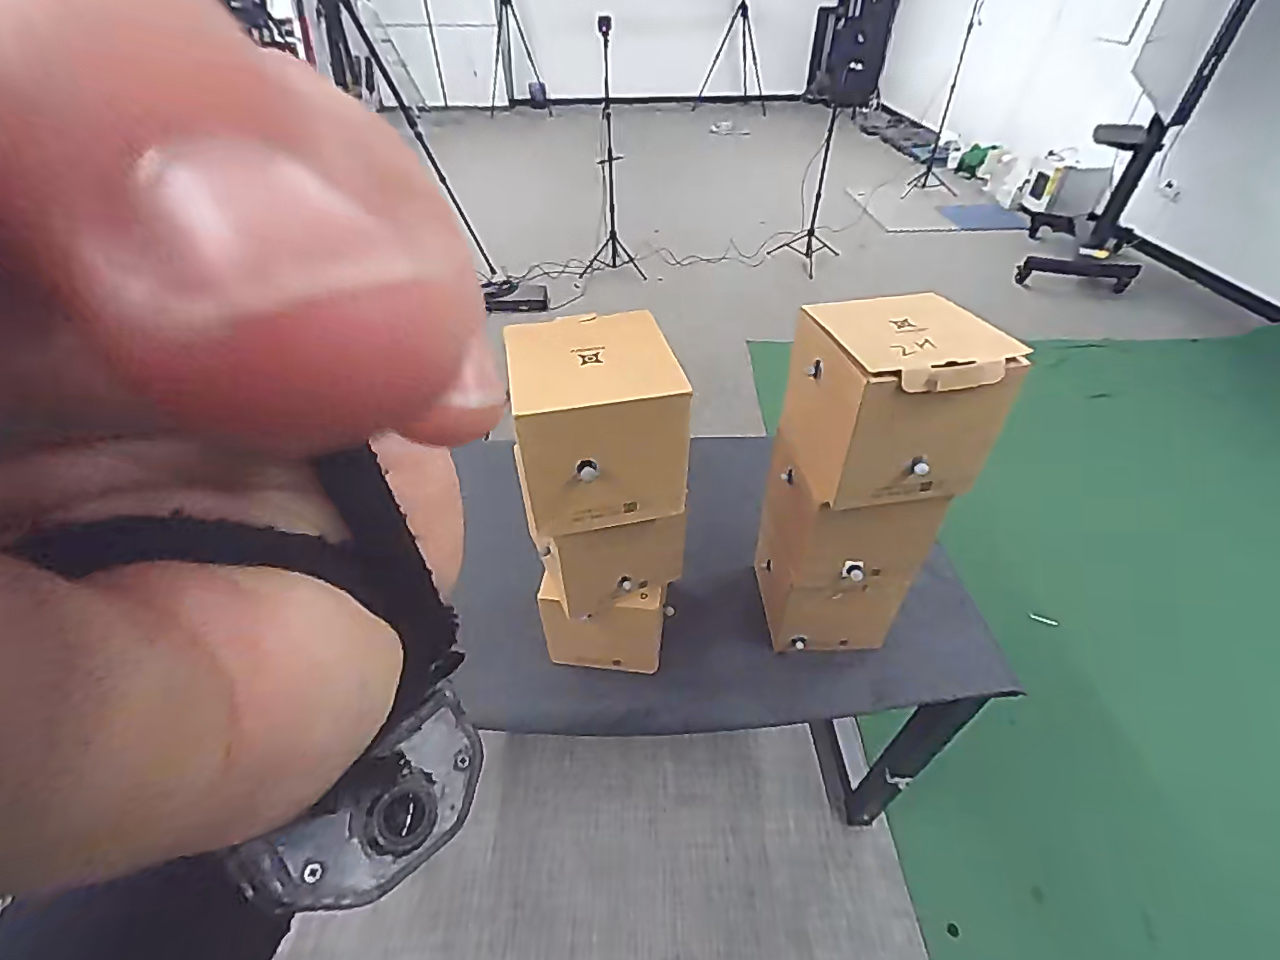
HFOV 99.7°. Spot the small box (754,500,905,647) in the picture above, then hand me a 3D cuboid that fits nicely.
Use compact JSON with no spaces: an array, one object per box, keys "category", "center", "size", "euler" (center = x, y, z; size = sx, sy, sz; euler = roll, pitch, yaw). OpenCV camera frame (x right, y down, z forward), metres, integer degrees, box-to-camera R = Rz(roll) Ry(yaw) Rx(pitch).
[{"category":"small box","center":[0.280,0.146,0.843],"size":[0.168,0.176,0.179],"euler":[-2,40,0]}]

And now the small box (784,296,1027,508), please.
[{"category":"small box","center":[0.276,-0.091,0.617],"size":[0.168,0.176,0.179],"euler":[-7,41,-4]}]

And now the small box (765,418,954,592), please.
[{"category":"small box","center":[0.277,0.027,0.733],"size":[0.168,0.176,0.179],"euler":[-5,42,-3]}]

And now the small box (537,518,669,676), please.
[{"category":"small box","center":[-0.048,0.169,0.825],"size":[0.168,0.176,0.179],"euler":[4,42,6]}]

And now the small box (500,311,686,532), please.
[{"category":"small box","center":[-0.052,-0.060,0.591],"size":[0.168,0.176,0.179],"euler":[-10,43,-10]}]
